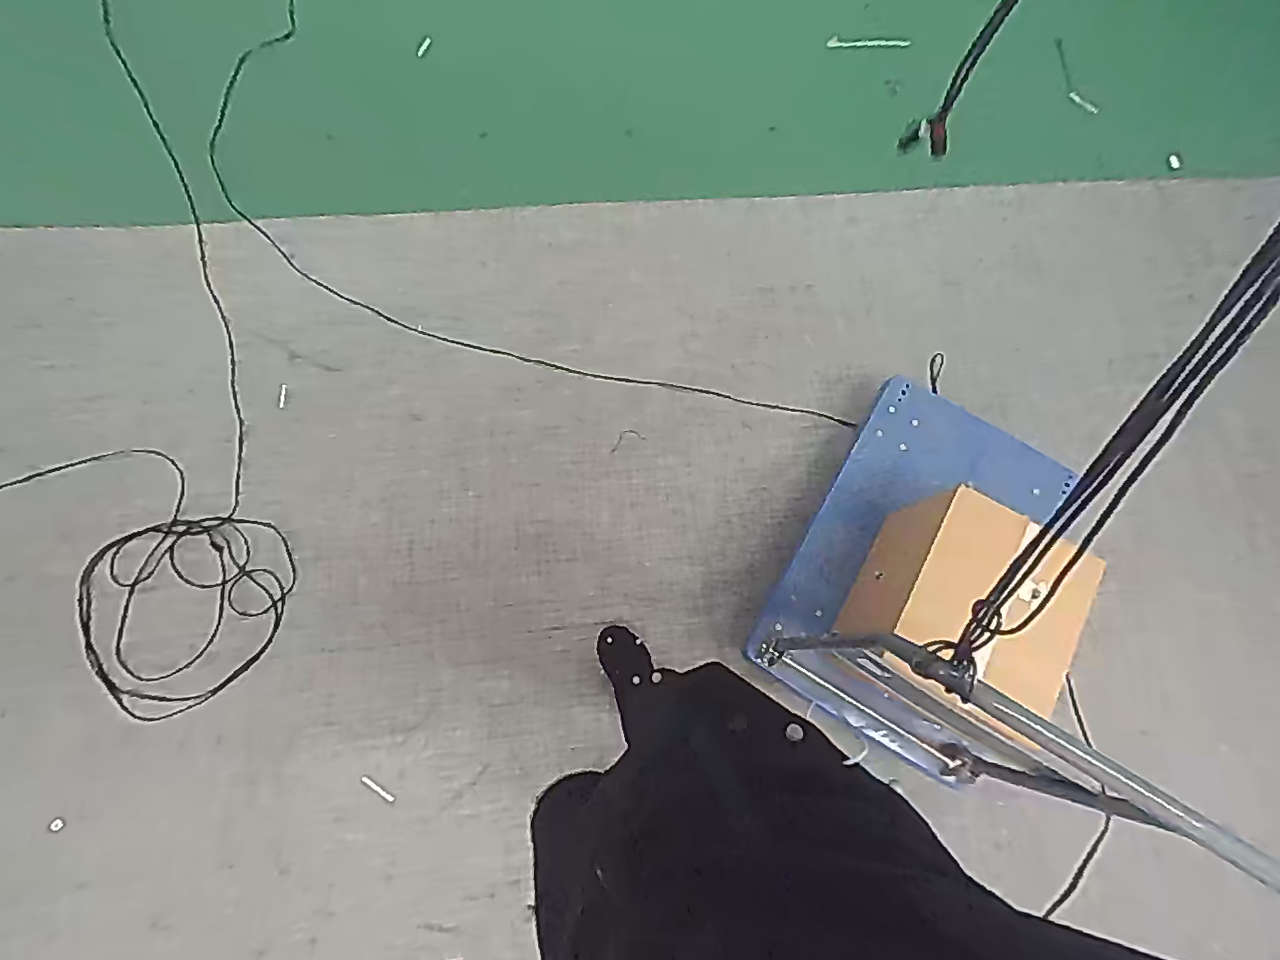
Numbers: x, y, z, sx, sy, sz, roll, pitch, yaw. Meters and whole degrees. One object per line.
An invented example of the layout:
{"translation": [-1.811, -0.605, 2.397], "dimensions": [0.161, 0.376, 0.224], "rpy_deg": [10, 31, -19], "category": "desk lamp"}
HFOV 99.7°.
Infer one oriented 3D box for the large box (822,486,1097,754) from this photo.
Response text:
{"translation": [0.653, 0.289, 1.157], "dimensions": [0.320, 0.320, 0.408], "rpy_deg": [31, 75, 5], "category": "large box"}
